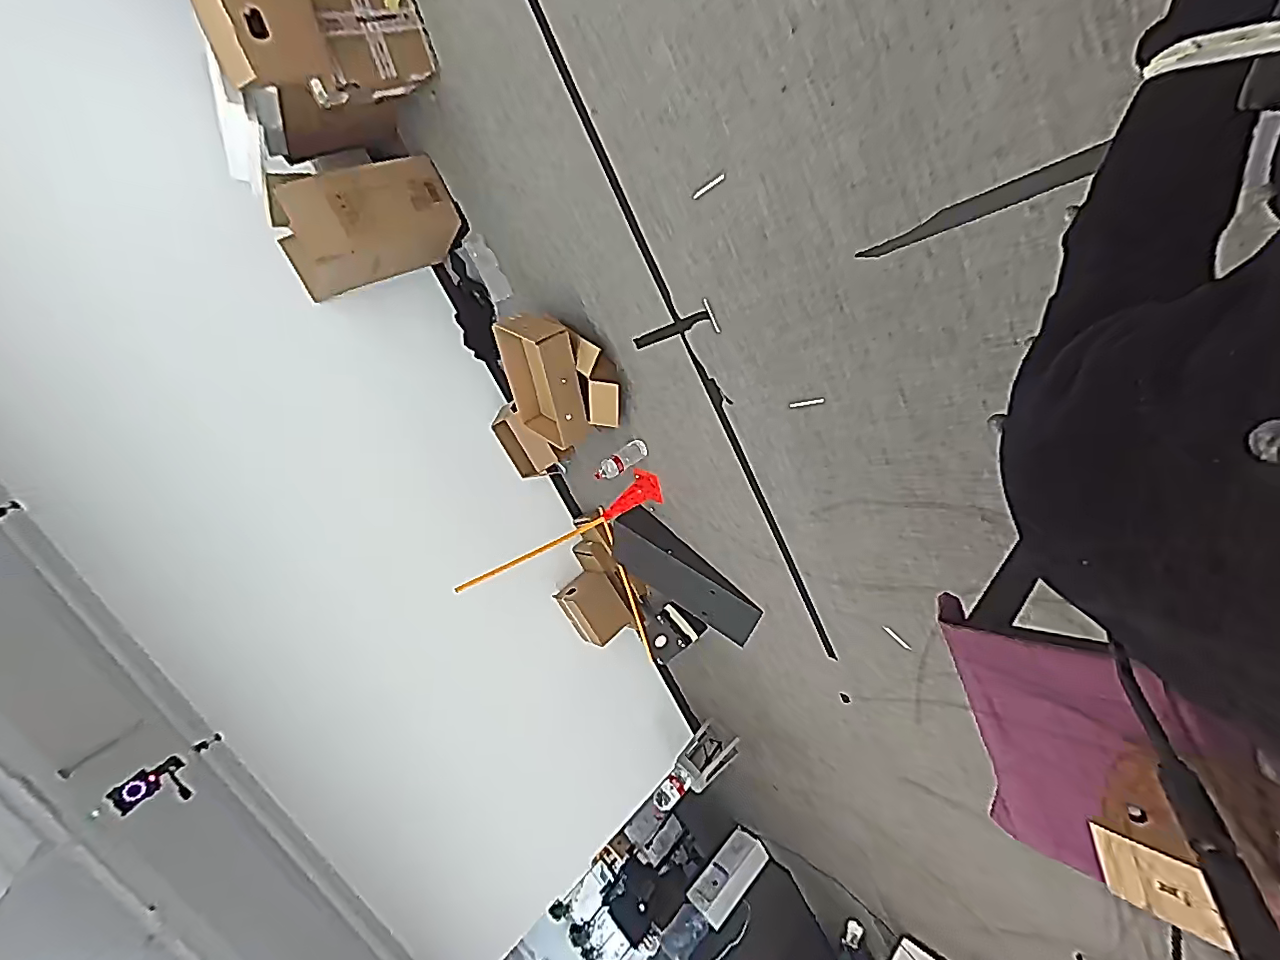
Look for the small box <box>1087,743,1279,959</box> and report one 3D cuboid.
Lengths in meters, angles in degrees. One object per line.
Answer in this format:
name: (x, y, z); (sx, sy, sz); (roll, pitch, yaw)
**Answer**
small box: (0.807, 0.528, 0.799); (0.179, 0.176, 0.168); (1, 122, 56)
